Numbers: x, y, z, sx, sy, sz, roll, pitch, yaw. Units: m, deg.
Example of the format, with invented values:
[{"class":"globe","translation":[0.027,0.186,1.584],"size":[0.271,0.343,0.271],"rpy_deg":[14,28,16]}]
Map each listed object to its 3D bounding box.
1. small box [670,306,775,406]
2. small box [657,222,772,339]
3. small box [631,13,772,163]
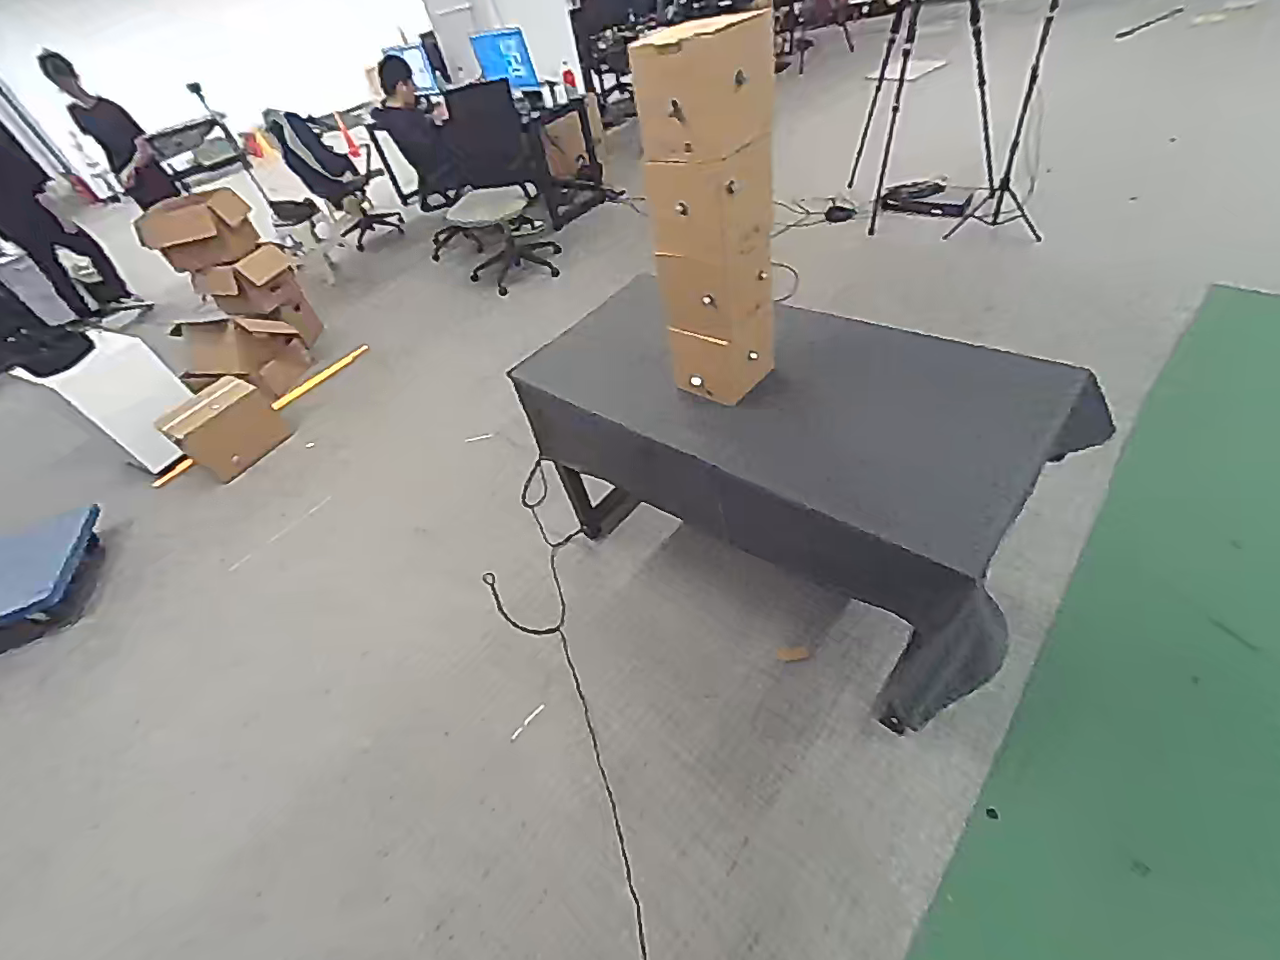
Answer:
[{"class":"small box","translation":[0.194,-0.301,1.248],"size":[0.168,0.176,0.179],"rpy_deg":[28,59,35]},{"class":"small box","translation":[0.163,-0.418,1.139],"size":[0.179,0.176,0.168],"rpy_deg":[25,56,34]},{"class":"small box","translation":[0.114,-0.660,0.923],"size":[0.168,0.176,0.179],"rpy_deg":[26,57,35]}]
